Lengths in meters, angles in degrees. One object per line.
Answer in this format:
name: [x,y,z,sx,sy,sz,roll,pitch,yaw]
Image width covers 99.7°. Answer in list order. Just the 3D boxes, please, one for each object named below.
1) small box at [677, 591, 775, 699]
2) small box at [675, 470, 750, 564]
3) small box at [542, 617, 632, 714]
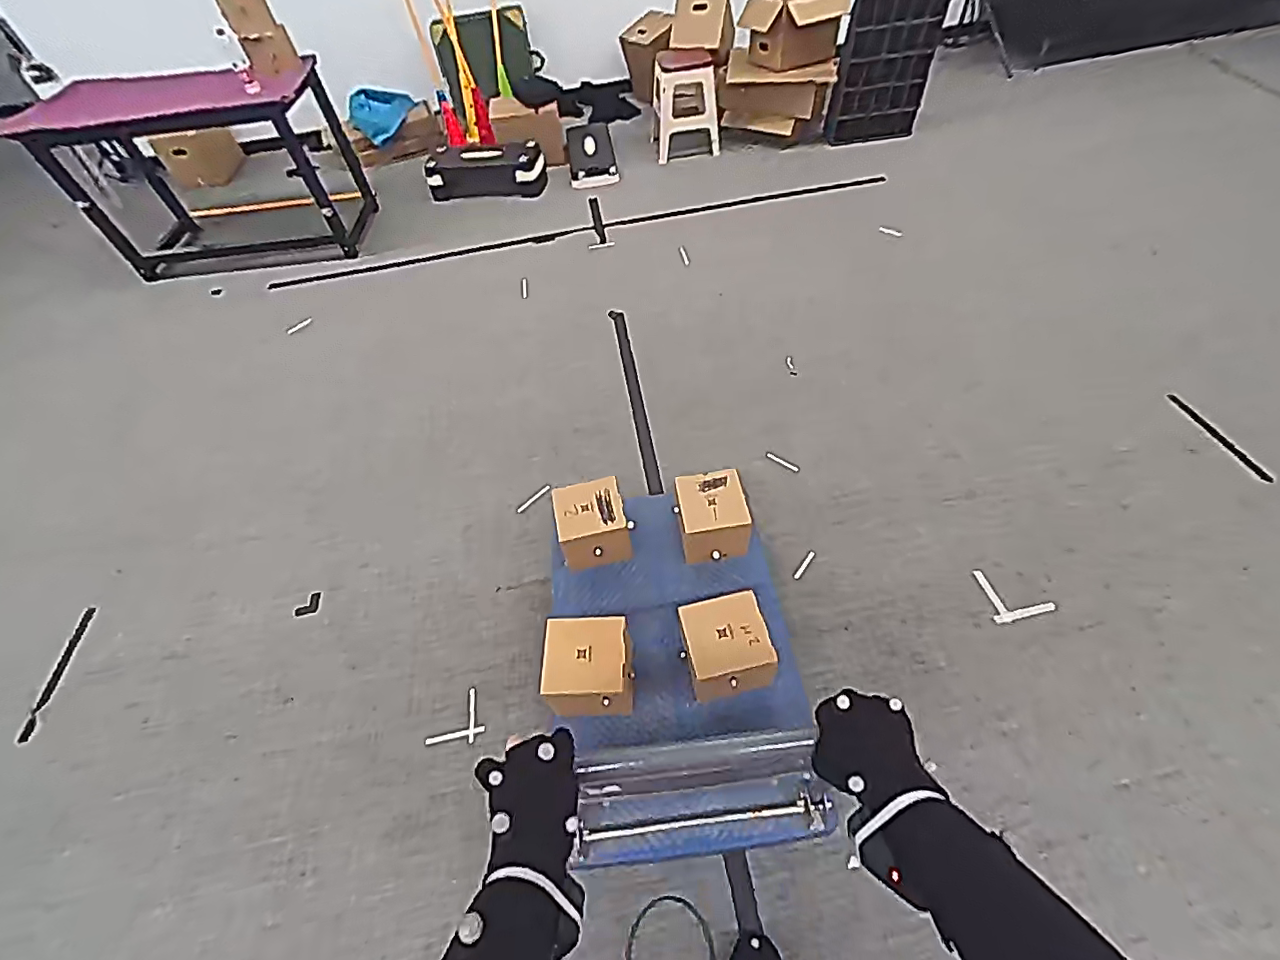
small box: [0.191,0.378,1.224,0.179,0.176,0.168,-12,53,-3]
small box: [0.187,0.101,1.436,0.168,0.176,0.179,-9,53,0]
small box: [-0.112,0.424,1.225,0.179,0.176,0.168,-3,52,2]
